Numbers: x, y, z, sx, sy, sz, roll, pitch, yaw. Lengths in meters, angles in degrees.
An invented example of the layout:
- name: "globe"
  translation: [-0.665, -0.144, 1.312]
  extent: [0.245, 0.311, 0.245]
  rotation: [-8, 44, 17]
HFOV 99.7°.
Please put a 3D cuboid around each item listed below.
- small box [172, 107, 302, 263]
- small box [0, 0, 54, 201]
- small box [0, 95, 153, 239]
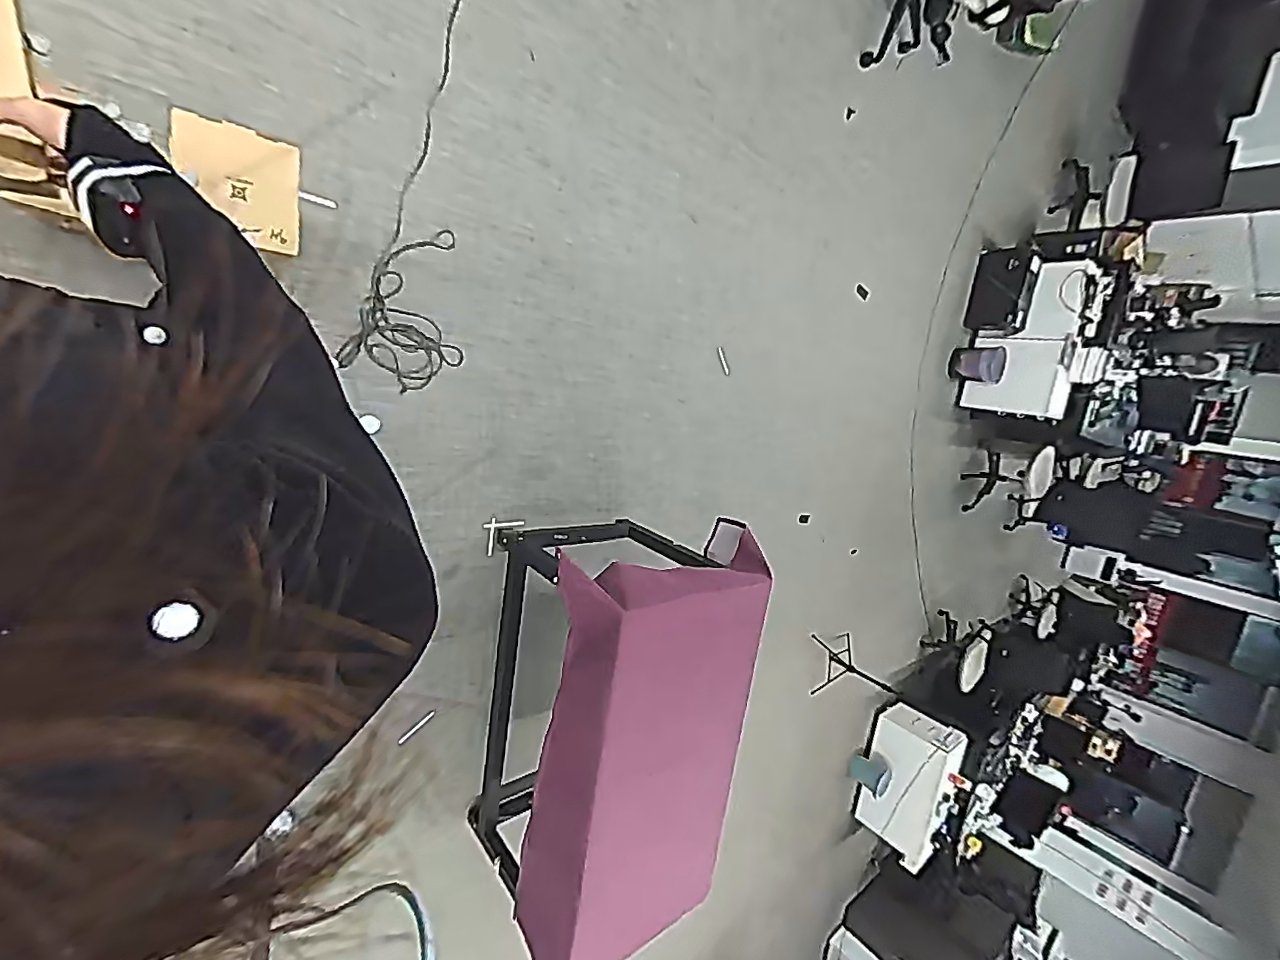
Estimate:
- name: "small box"
  translation: [-0.687, -0.484, 0.920]
  extent: [0.168, 0.176, 0.179]
  rotation: [0, 103, -39]
- name: "small box"
  translation: [-0.674, -0.371, 0.494]
  extent: [0.168, 0.176, 0.179]
  rotation: [-9, 113, -42]
- name: "small box"
  translation: [-0.947, -0.521, 0.911]
  extent: [0.179, 0.176, 0.168]
  rotation: [7, 100, -40]
